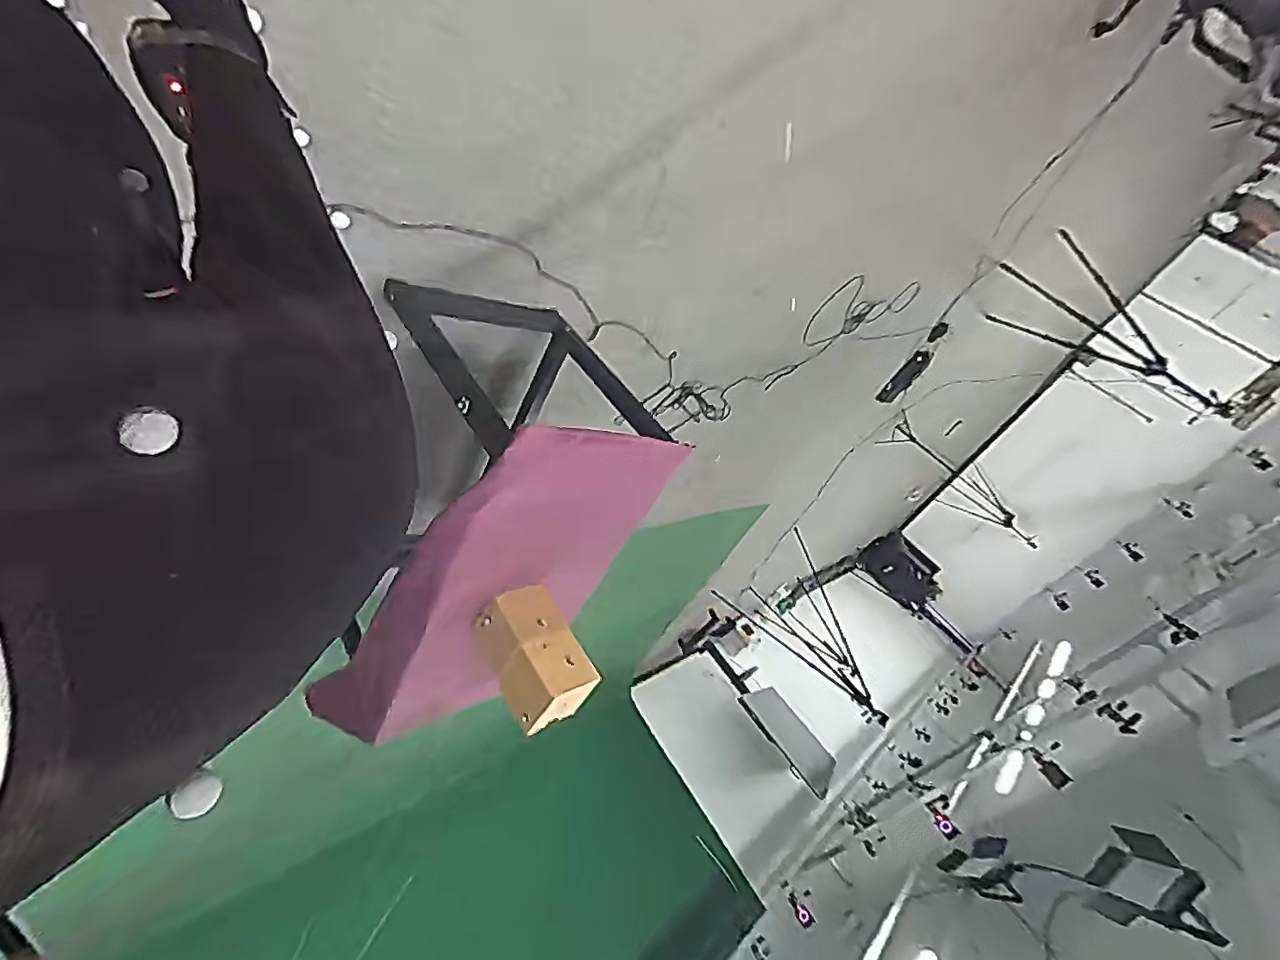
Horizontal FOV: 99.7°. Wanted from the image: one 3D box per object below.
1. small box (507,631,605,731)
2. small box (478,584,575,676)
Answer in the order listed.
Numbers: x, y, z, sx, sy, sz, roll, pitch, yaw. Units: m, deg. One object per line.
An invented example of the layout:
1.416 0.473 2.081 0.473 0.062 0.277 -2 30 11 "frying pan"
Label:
-0.231 0.529 1.457 0.168 0.176 0.179 -4 136 -49 "small box"
-0.322 0.415 1.527 0.179 0.176 0.168 -2 133 -50 "small box"
